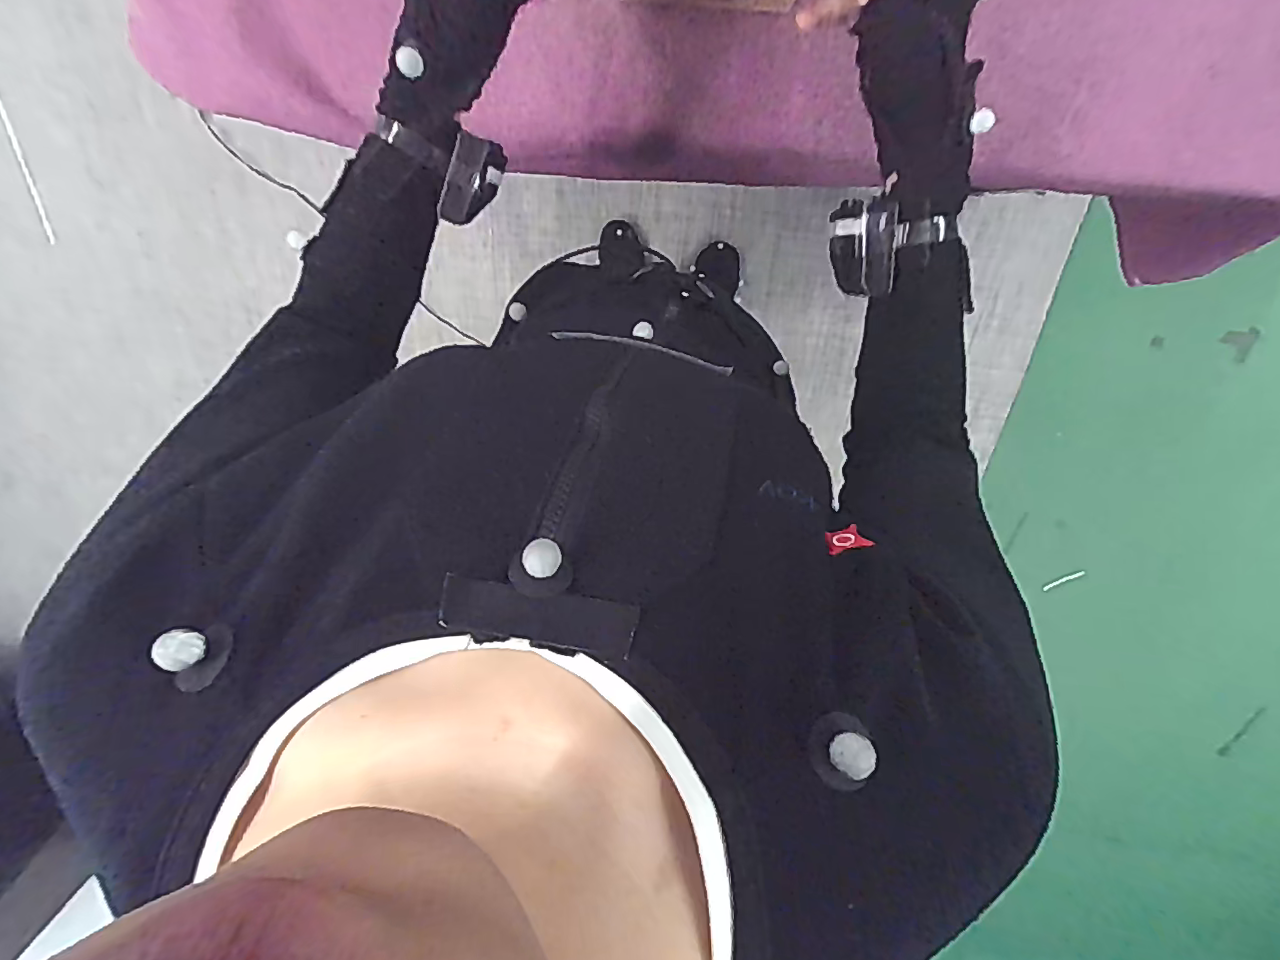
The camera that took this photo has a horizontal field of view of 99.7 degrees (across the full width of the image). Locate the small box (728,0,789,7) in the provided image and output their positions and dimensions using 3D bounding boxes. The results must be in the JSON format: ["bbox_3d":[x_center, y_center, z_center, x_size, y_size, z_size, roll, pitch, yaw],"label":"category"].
[{"bbox_3d":[0.064,-0.497,0.409,0.168,0.176,0.179,7,116,2],"label":"small box"}]
